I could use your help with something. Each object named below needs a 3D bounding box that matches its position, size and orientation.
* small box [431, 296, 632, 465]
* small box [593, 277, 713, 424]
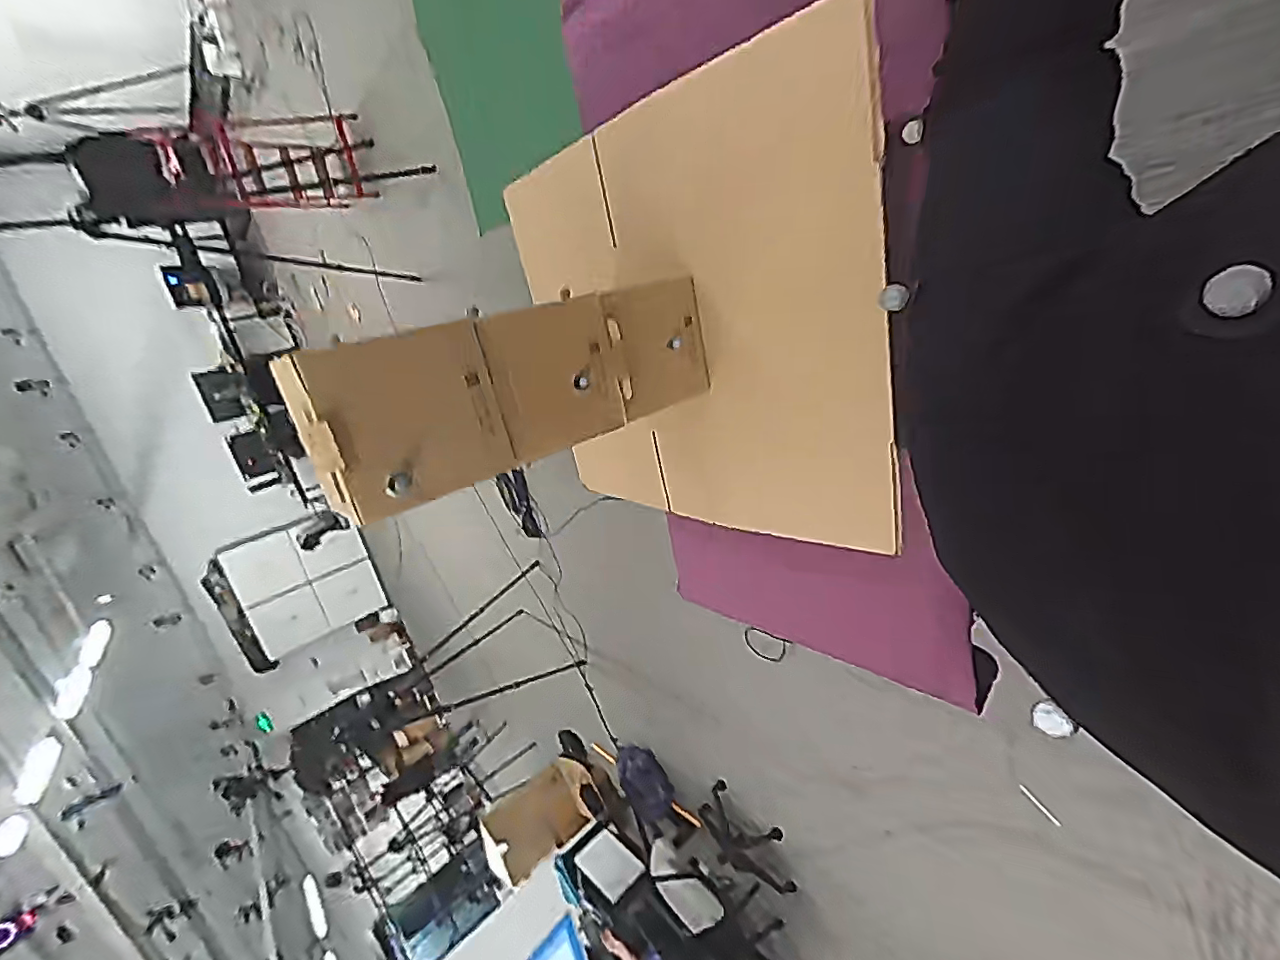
[{"bbox_3d":[-0.137,-0.130,0.696,0.179,0.176,0.168,8,118,50],"label":"small box"},{"bbox_3d":[-0.020,-0.190,0.792,0.179,0.176,0.168,12,121,50],"label":"small box"}]
